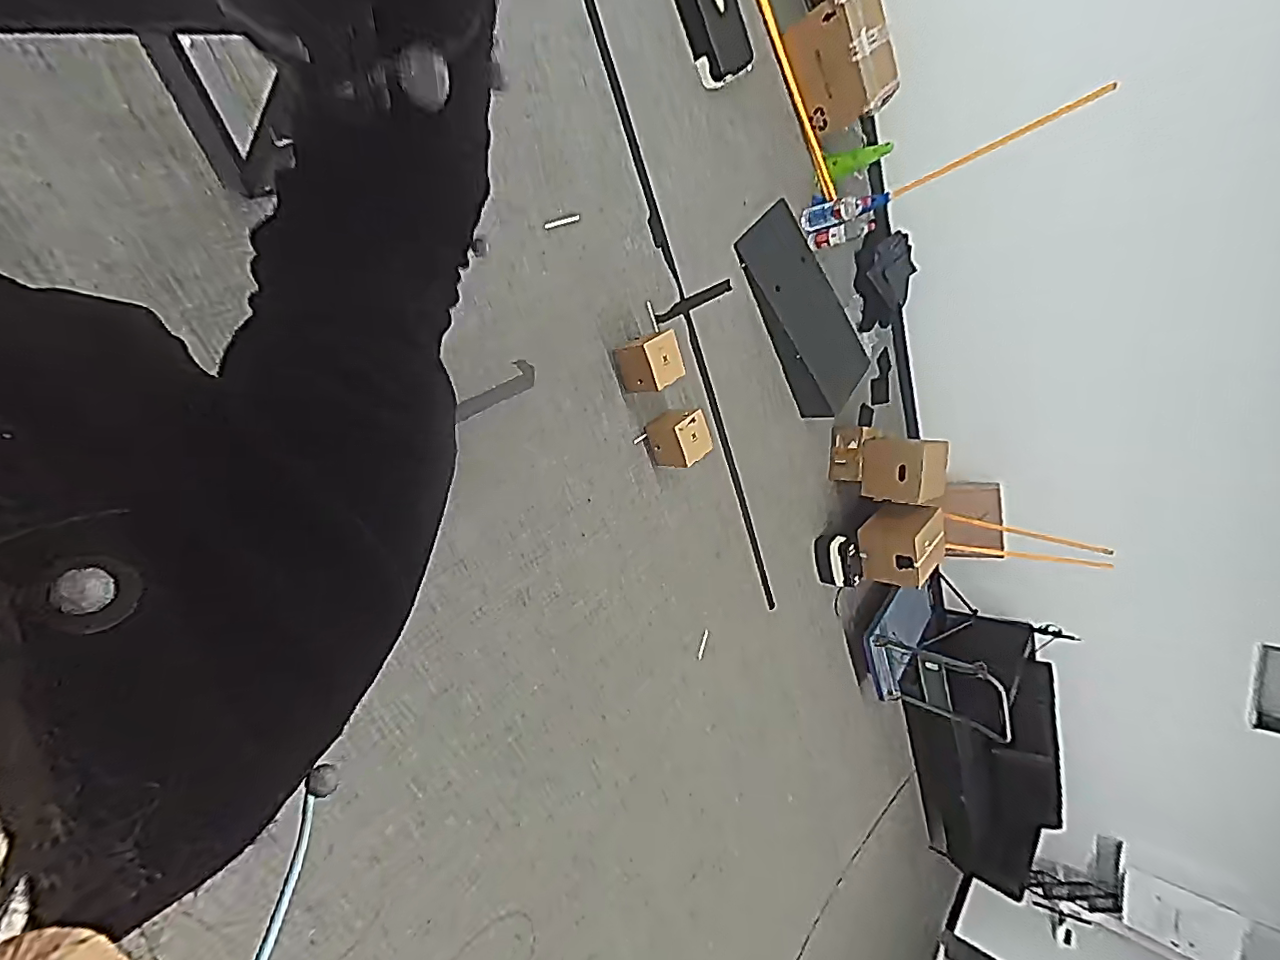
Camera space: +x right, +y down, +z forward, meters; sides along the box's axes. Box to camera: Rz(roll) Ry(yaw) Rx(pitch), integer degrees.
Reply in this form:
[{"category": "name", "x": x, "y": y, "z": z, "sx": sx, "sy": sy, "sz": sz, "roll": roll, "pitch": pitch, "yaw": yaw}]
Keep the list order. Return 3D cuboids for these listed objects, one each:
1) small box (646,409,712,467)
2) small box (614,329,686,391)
[{"category": "small box", "x": 0.152, "y": -0.167, "z": 2.107, "sx": 0.168, "sy": 0.176, "sz": 0.179, "roll": -38, "pitch": 119, "yaw": -35}, {"category": "small box", "x": 0.035, "y": -0.434, "z": 1.972, "sx": 0.168, "sy": 0.176, "sz": 0.179, "roll": -38, "pitch": 118, "yaw": -35}]
